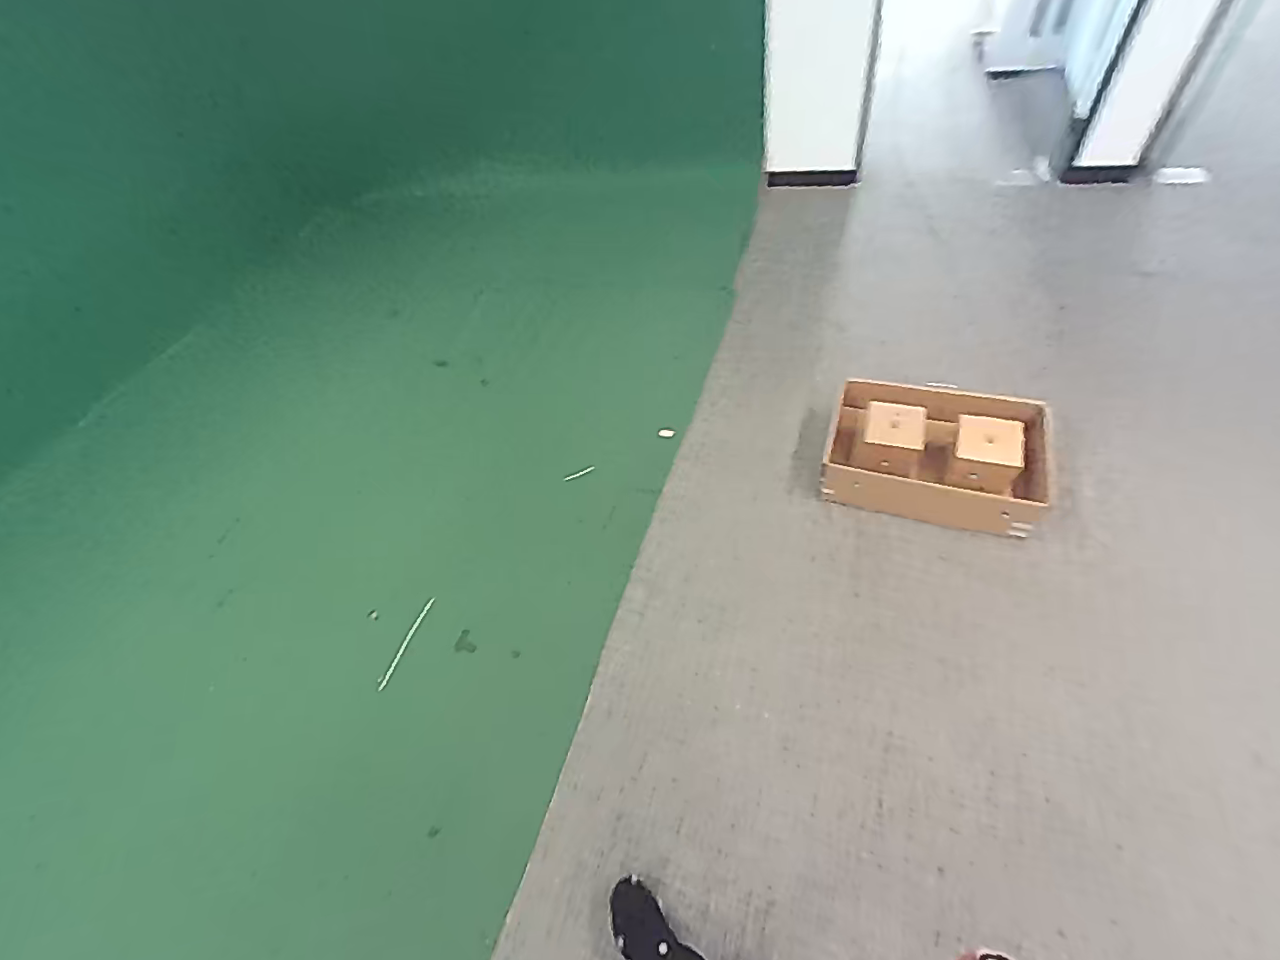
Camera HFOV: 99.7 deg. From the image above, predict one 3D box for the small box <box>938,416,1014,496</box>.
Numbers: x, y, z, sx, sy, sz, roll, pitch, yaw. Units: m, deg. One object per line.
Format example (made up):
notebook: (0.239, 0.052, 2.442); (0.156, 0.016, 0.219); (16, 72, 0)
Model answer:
small box: (1.036, -0.072, 1.675); (0.168, 0.176, 0.179); (11, 57, 19)

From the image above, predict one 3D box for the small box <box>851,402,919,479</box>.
small box: (0.794, -0.124, 1.759); (0.168, 0.176, 0.179); (11, 58, 17)
